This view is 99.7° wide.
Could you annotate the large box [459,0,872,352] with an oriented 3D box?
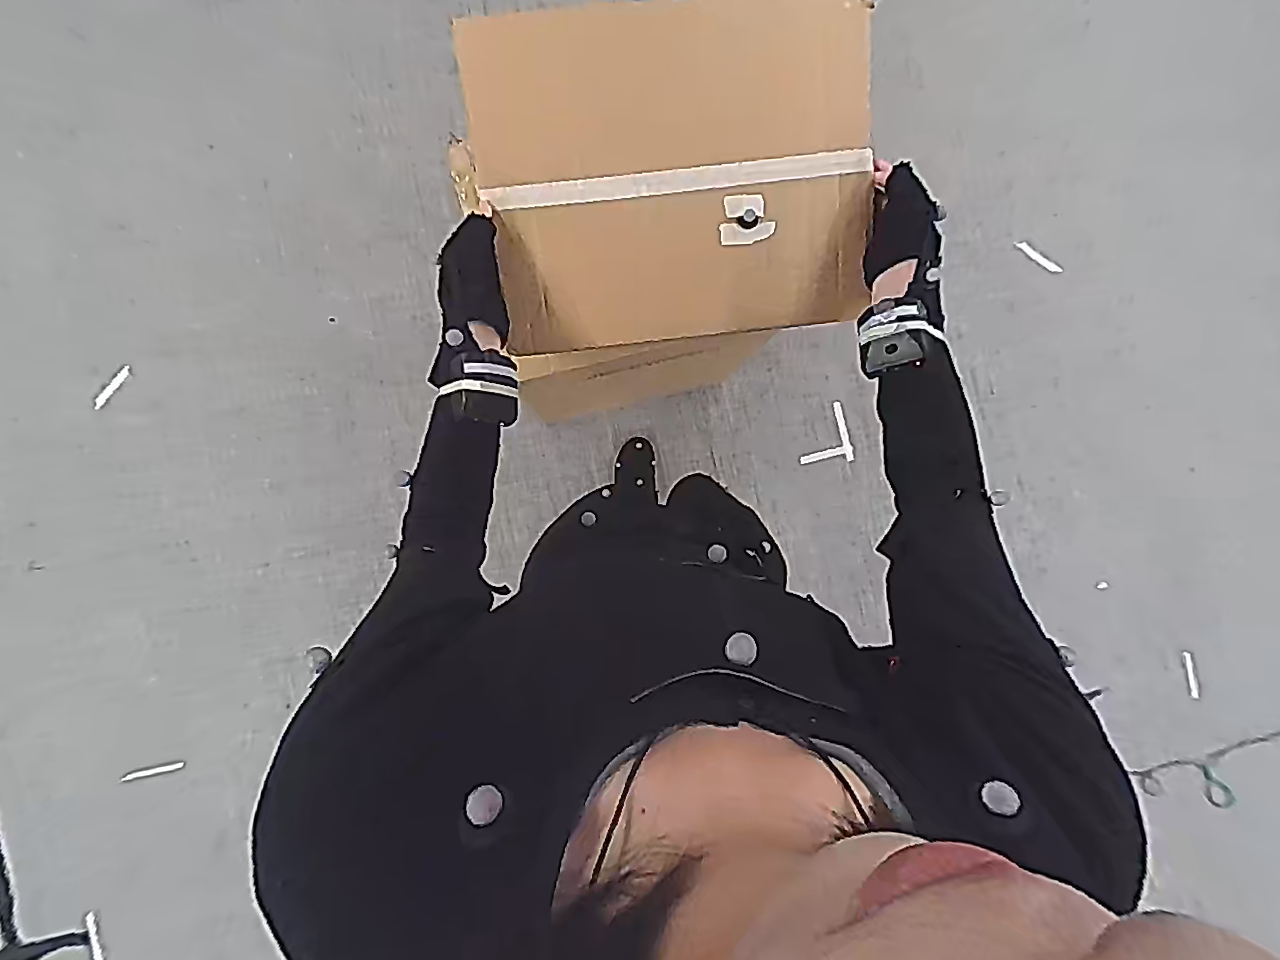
[{"bbox_3d":[0.030,-0.348,0.698,0.408,0.320,0.320,-8,105,-3],"label":"large box"}]
